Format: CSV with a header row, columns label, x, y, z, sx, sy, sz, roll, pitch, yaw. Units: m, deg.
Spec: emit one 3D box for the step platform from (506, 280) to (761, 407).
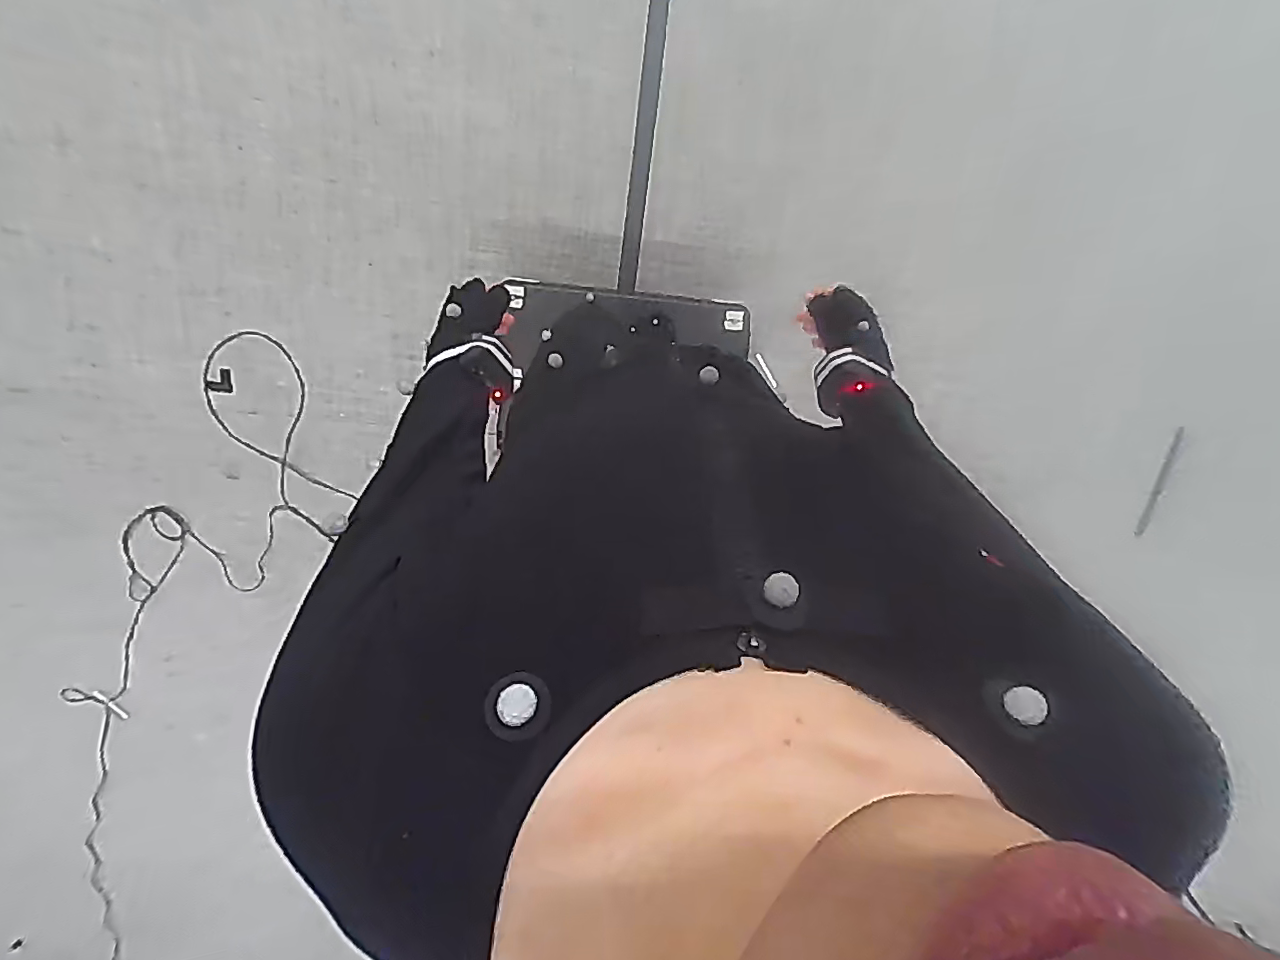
label,x,y,z,sx,sy,sz,roll,pitch,yaw
step platform,-0.018,-0.372,1.488,0.684,0.204,0.286,3,108,-5
